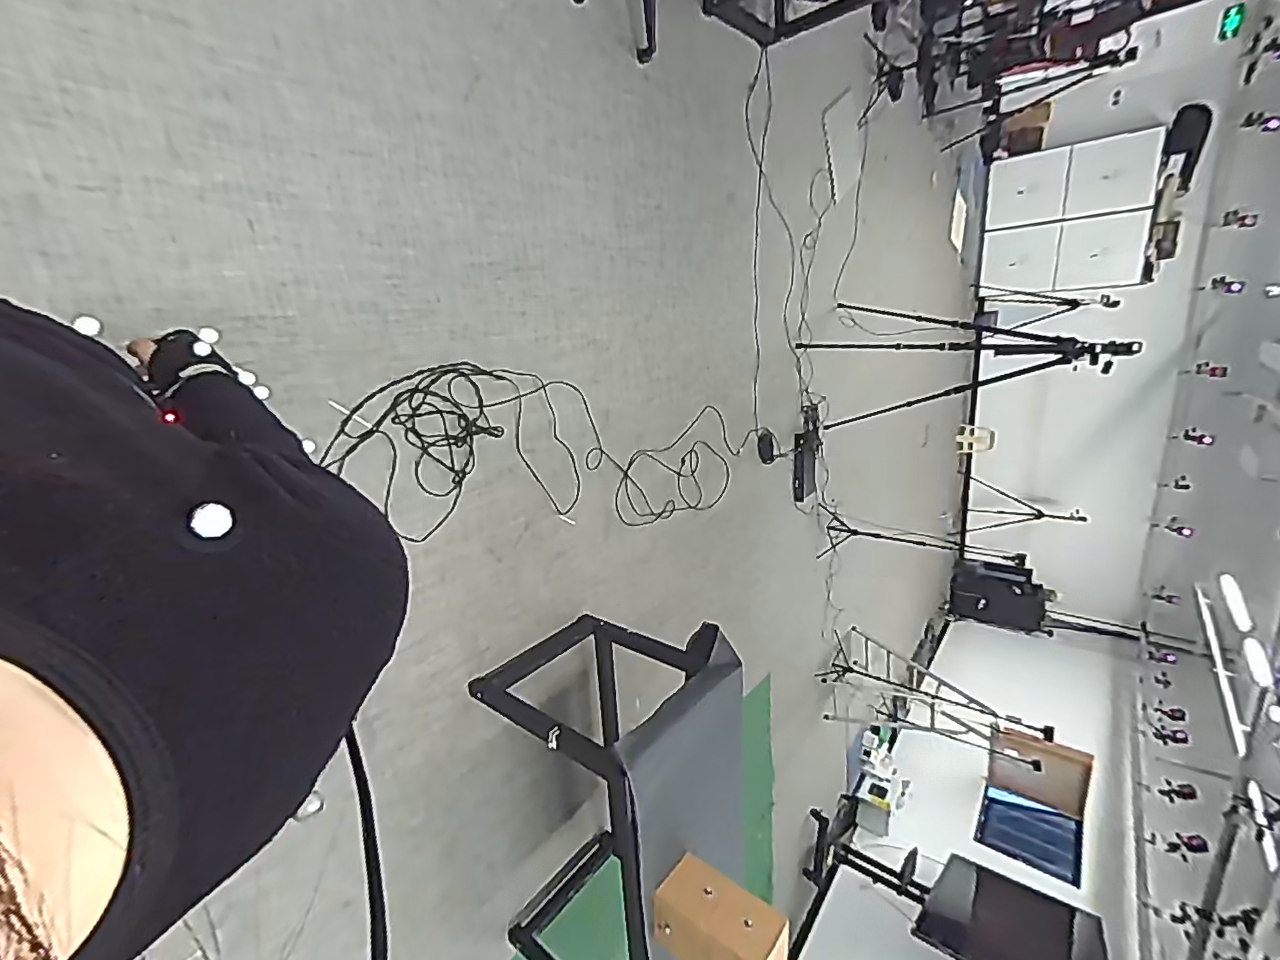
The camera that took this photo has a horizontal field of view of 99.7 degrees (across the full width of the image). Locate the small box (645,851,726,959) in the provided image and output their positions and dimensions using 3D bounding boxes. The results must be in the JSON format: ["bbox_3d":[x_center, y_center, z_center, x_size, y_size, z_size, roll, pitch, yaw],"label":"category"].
[{"bbox_3d":[0.132,1.238,1.571,0.179,0.176,0.168,-15,108,-50],"label":"small box"}]
